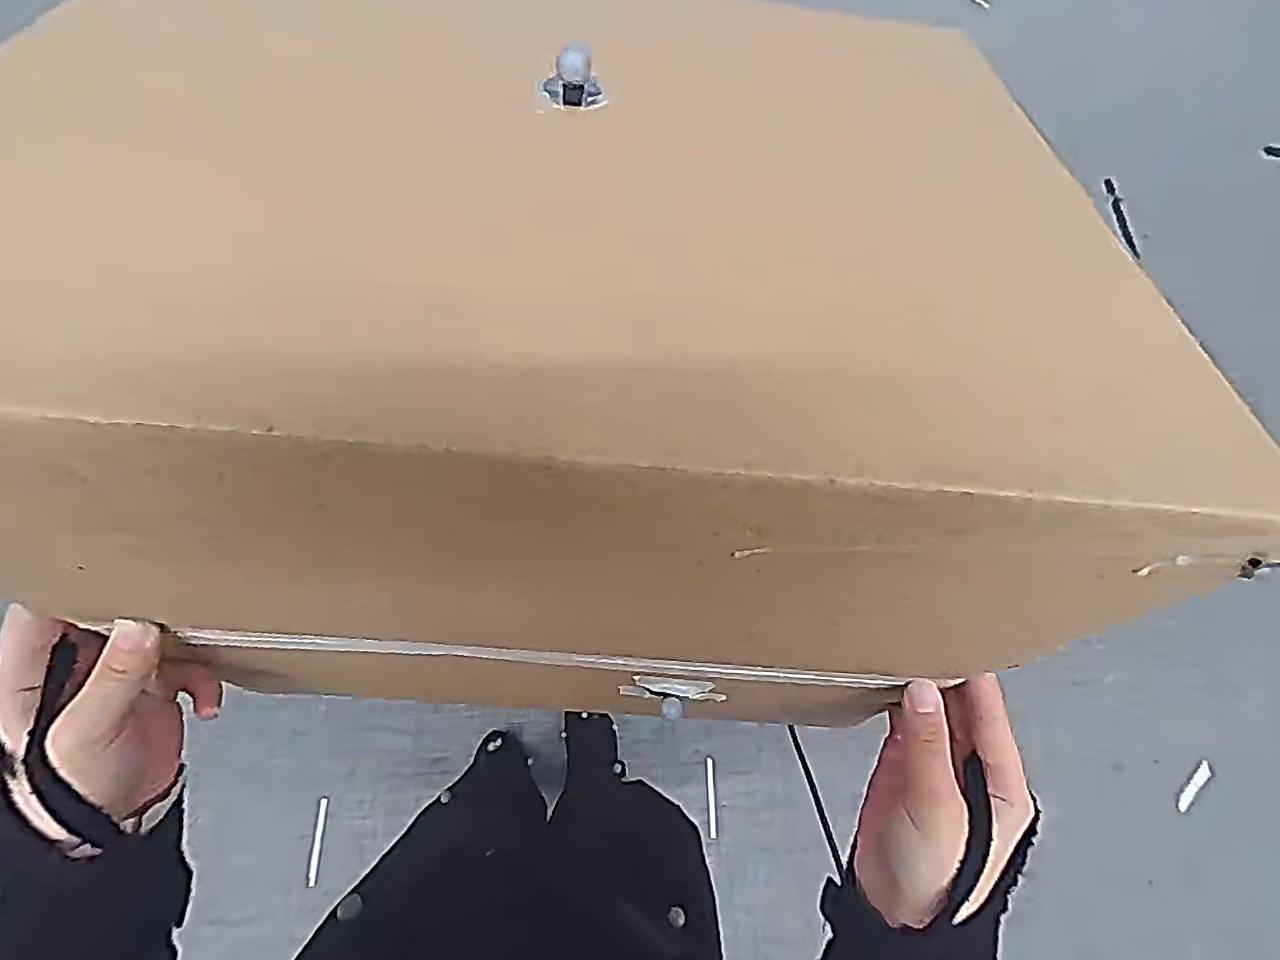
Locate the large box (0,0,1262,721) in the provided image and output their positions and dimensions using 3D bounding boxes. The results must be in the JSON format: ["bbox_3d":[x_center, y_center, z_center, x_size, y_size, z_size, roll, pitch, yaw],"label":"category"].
[{"bbox_3d":[-0.040,-0.048,0.339,0.408,0.320,0.320,4,58,-3],"label":"large box"}]
